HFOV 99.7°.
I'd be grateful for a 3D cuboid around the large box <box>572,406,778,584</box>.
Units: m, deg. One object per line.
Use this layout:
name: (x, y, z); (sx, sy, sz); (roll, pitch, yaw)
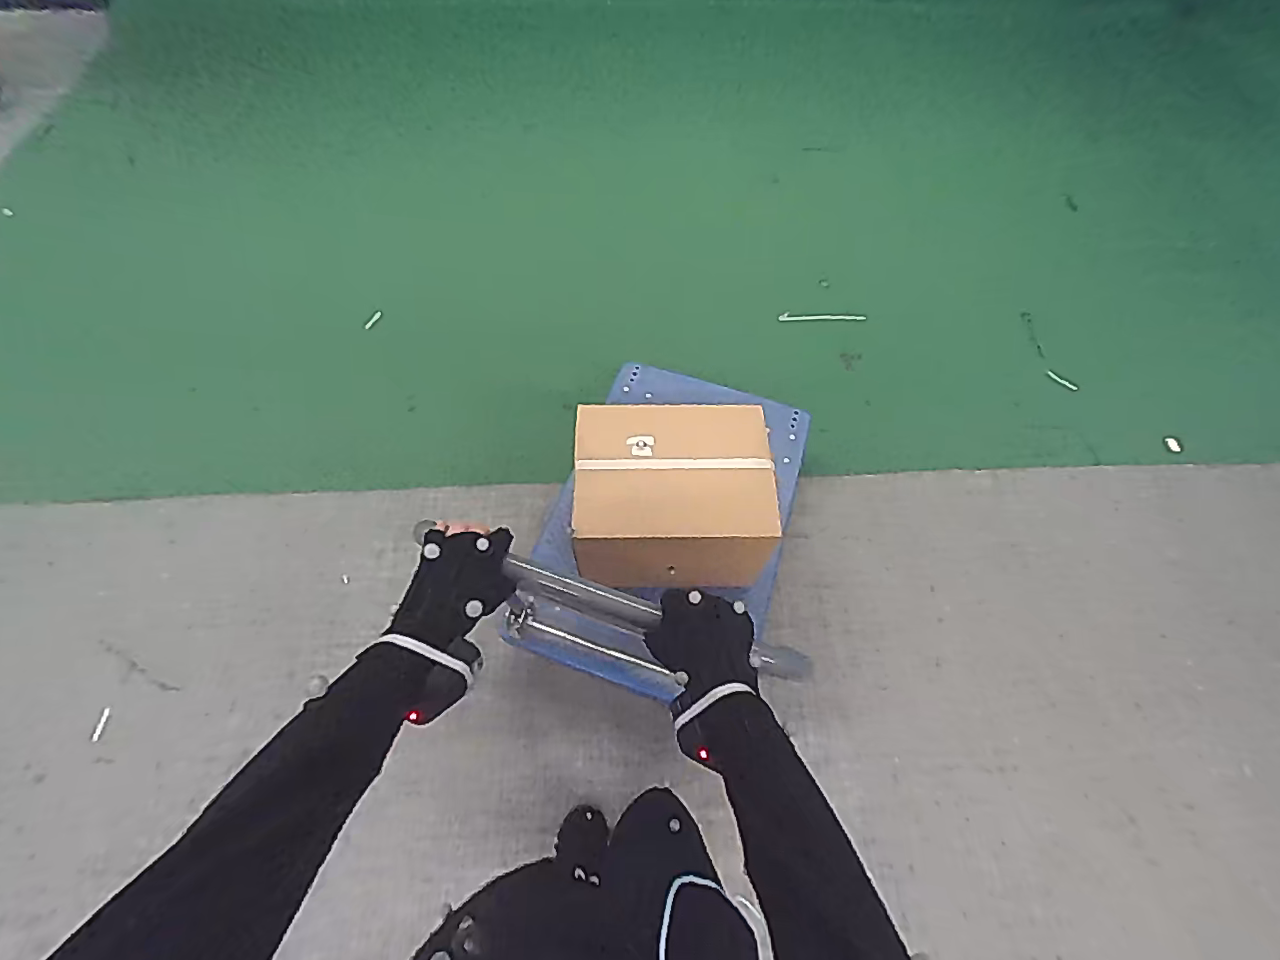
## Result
large box: (0.066, 0.046, 1.236); (0.408, 0.320, 0.320); (0, 61, 0)
